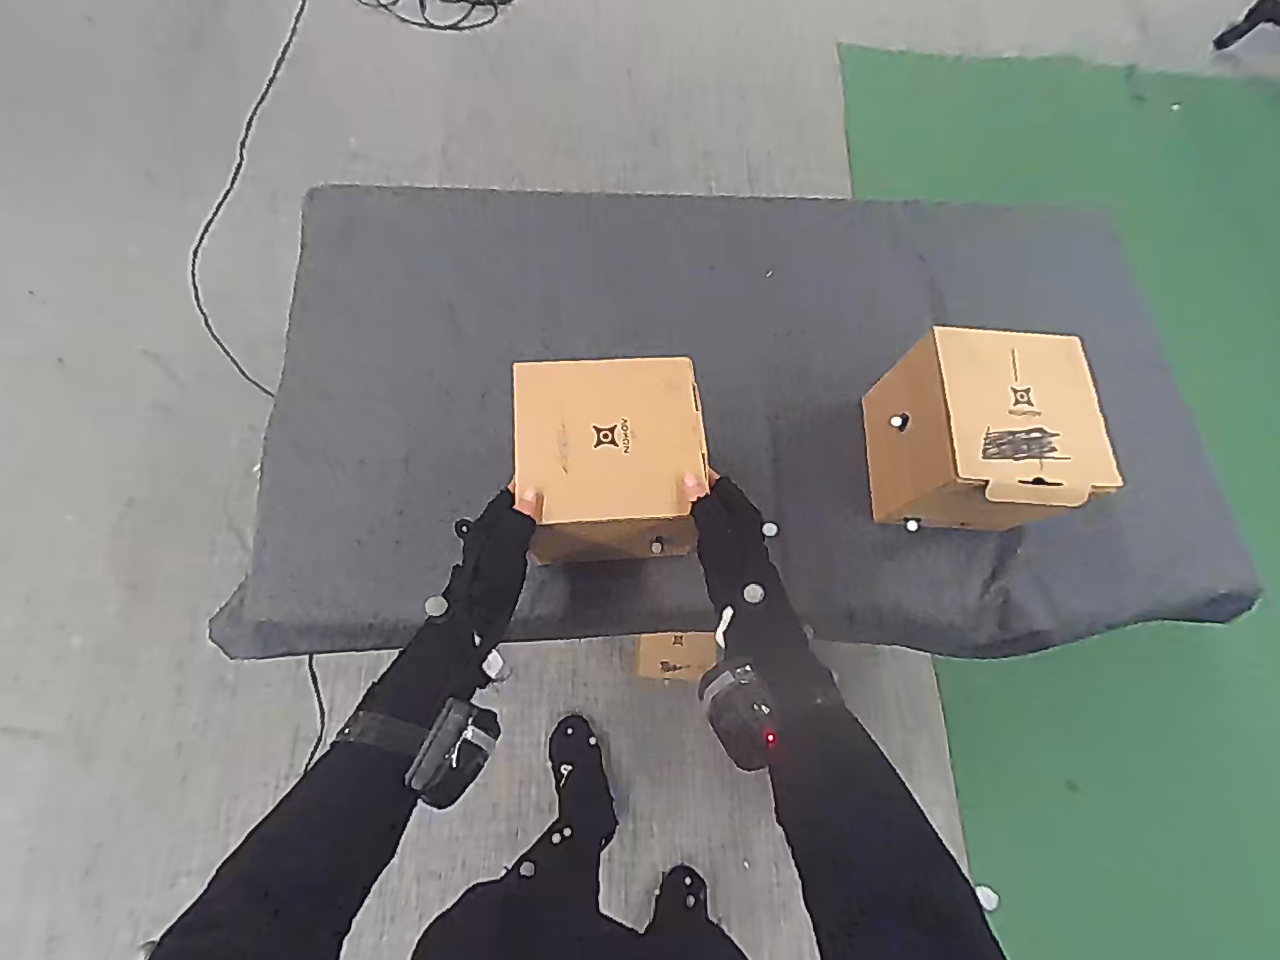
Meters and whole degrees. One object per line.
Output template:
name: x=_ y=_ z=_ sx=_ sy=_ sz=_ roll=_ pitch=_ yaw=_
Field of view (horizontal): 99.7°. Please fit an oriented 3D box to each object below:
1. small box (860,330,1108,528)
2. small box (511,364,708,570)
small box: x=0.375 y=-0.047 z=0.626 sx=0.168 sy=0.176 sz=0.179 roll=3 pitch=70 yaw=-3
small box: x=-0.036 y=-0.006 z=0.578 sx=0.179 sy=0.176 sz=0.168 roll=-5 pitch=69 yaw=-4
